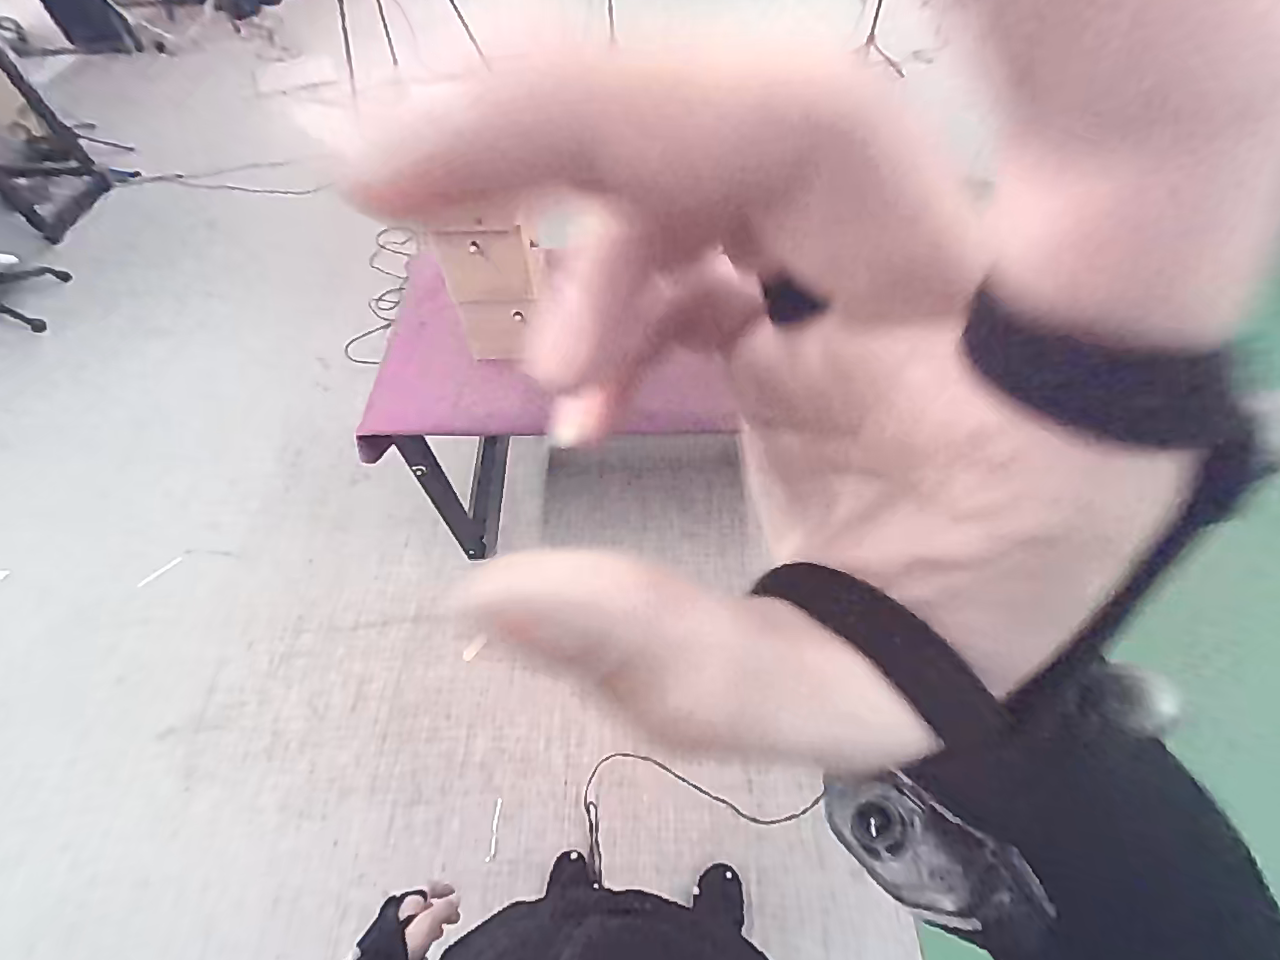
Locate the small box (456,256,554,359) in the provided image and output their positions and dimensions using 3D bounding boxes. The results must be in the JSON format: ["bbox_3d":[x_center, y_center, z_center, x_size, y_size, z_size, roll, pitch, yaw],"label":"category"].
[{"bbox_3d":[-0.295,-0.391,1.233,0.179,0.176,0.168,0,55,0],"label":"small box"}]

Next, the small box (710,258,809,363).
[{"bbox_3d":[0.259,-0.377,1.211,0.179,0.176,0.168,-2,55,0],"label":"small box"}]

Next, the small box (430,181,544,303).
[{"bbox_3d":[-0.298,-0.479,1.097,0.179,0.176,0.168,-1,57,1],"label":"small box"}]
